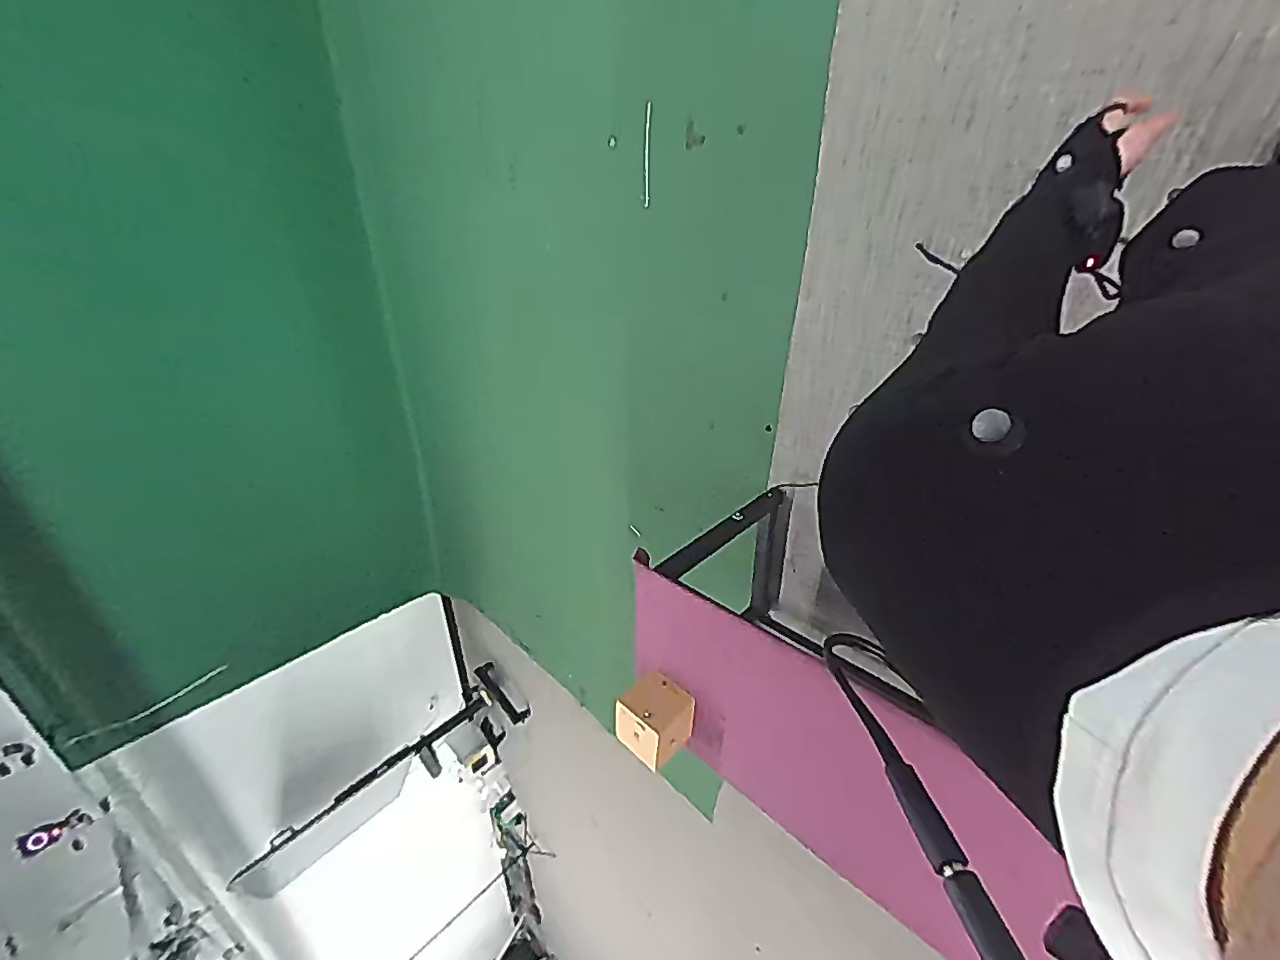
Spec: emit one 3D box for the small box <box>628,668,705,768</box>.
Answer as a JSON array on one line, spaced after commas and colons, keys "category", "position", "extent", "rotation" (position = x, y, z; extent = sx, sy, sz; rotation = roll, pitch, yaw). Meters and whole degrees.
[{"category": "small box", "position": [0.082, 0.710, 1.625], "extent": [0.168, 0.176, 0.179], "rotation": [25, 128, 36]}]
